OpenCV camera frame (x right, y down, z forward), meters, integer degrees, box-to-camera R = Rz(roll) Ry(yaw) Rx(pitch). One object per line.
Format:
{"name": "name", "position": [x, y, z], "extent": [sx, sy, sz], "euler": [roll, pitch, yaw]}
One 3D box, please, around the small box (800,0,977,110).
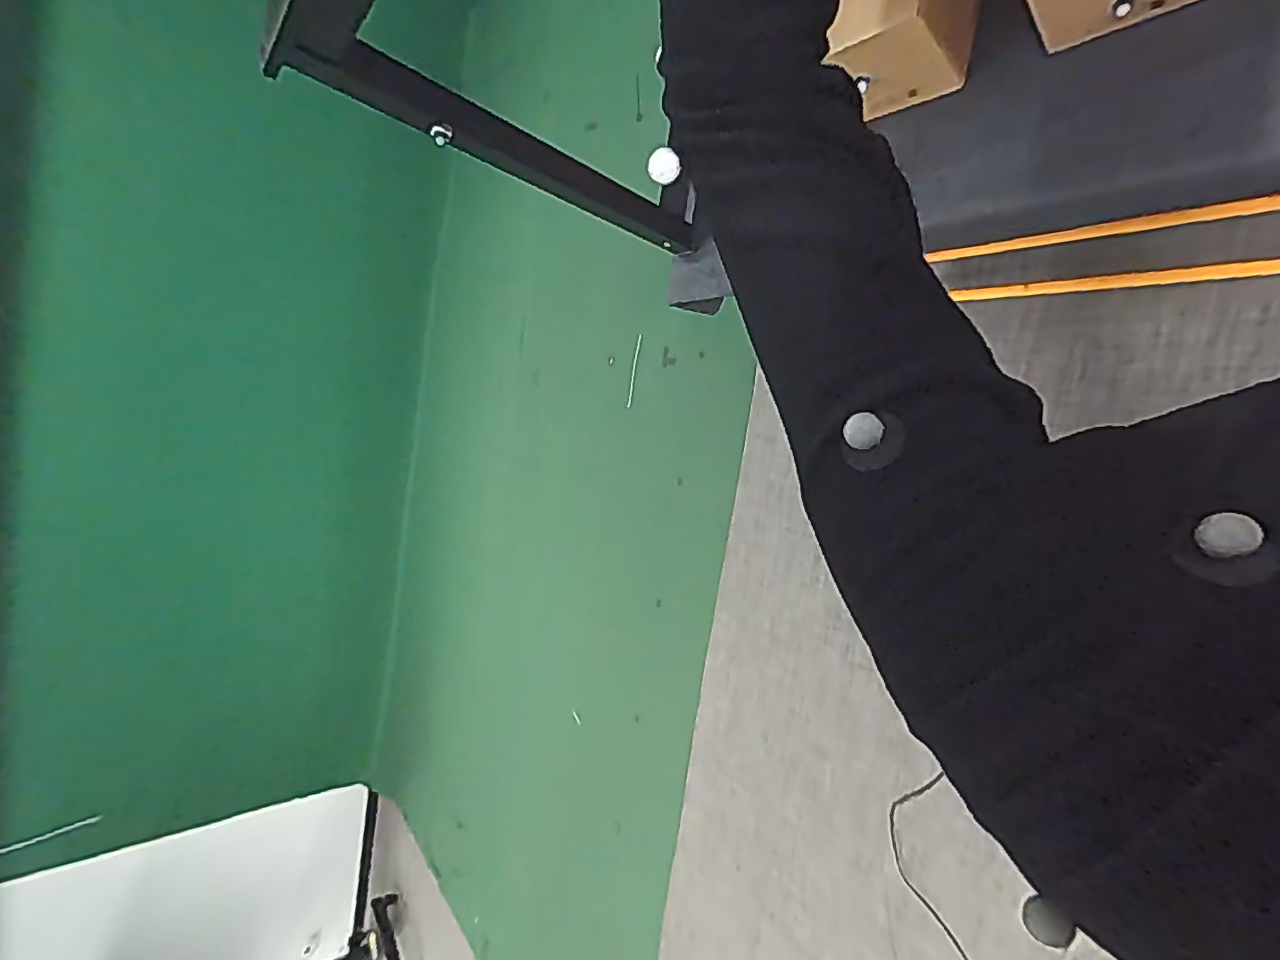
{"name": "small box", "position": [0.353, -0.659, 0.757], "extent": [0.168, 0.176, 0.179], "euler": [14, 97, 47]}
